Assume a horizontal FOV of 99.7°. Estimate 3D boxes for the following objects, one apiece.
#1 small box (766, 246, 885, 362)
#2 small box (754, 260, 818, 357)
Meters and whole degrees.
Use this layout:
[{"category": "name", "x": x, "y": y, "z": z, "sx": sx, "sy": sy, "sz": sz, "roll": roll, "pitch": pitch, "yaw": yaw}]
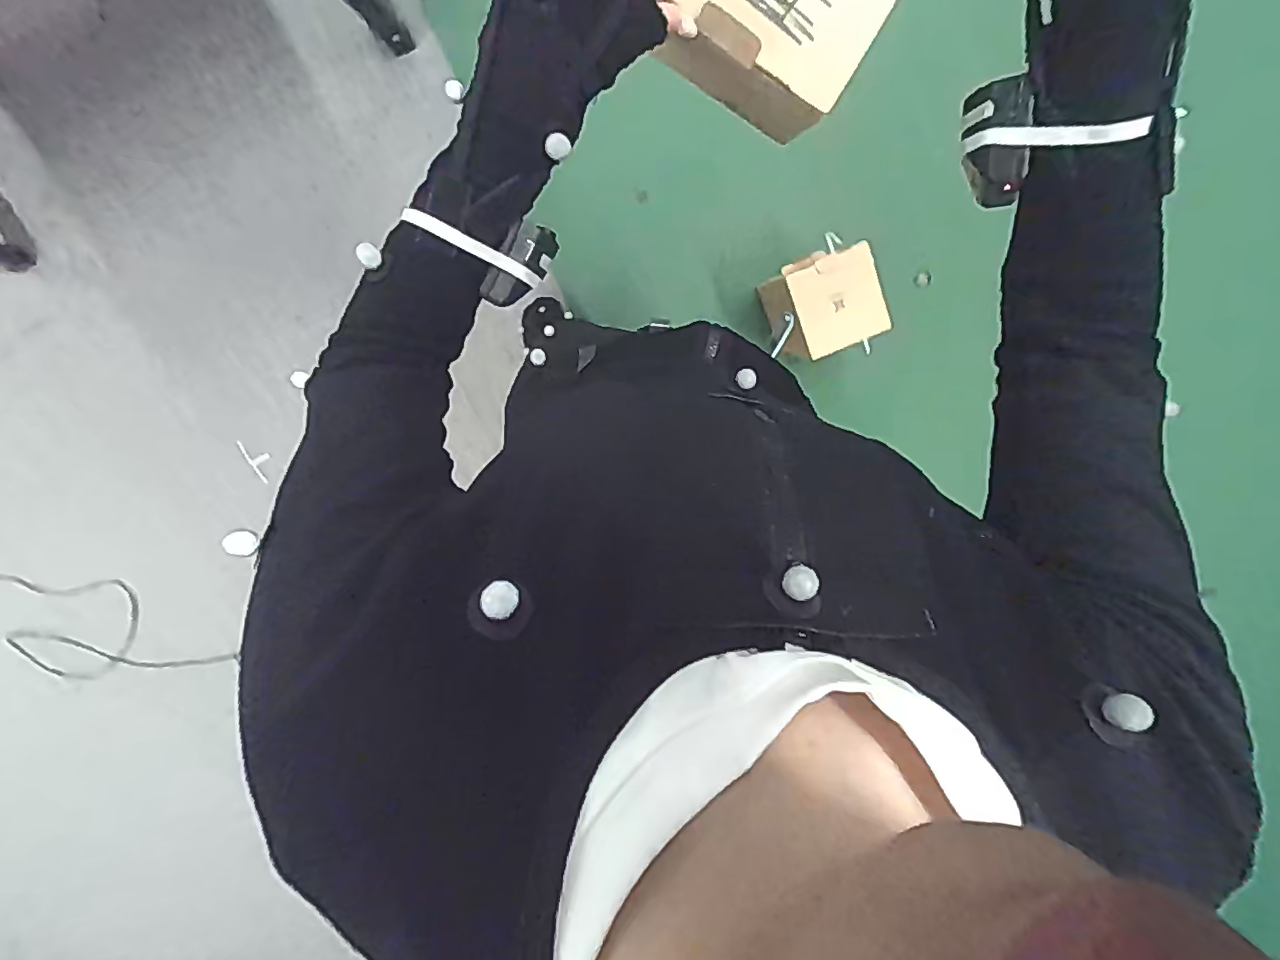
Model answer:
[{"category": "small box", "x": 0.381, "y": -0.364, "z": 1.135, "sx": 0.168, "sy": 0.176, "sz": 0.179, "roll": -22, "pitch": 104, "yaw": 7}, {"category": "small box", "x": 0.389, "y": -0.412, "z": 1.291, "sx": 0.168, "sy": 0.176, "sz": 0.179, "roll": -23, "pitch": 104, "yaw": 7}]
